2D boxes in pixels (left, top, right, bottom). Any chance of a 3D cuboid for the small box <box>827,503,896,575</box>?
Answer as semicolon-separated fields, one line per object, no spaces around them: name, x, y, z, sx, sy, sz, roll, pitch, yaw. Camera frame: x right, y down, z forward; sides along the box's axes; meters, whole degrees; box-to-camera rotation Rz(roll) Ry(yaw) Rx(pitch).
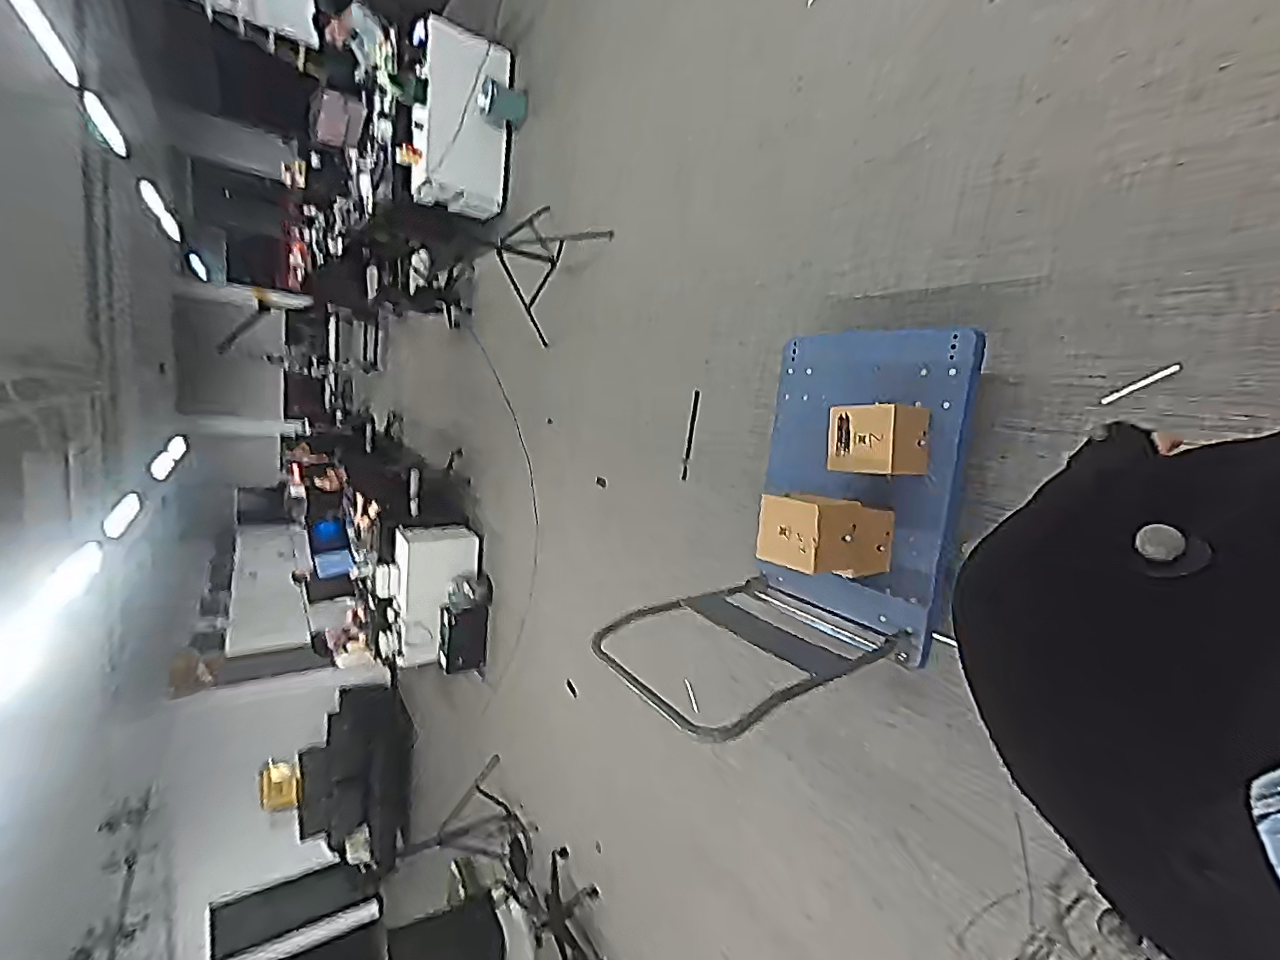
small box;0.548;0.148;1.441;0.179;0.176;0.168;11;99;53

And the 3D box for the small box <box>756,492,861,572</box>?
small box;0.416;0.122;1.341;0.179;0.176;0.168;12;100;53
